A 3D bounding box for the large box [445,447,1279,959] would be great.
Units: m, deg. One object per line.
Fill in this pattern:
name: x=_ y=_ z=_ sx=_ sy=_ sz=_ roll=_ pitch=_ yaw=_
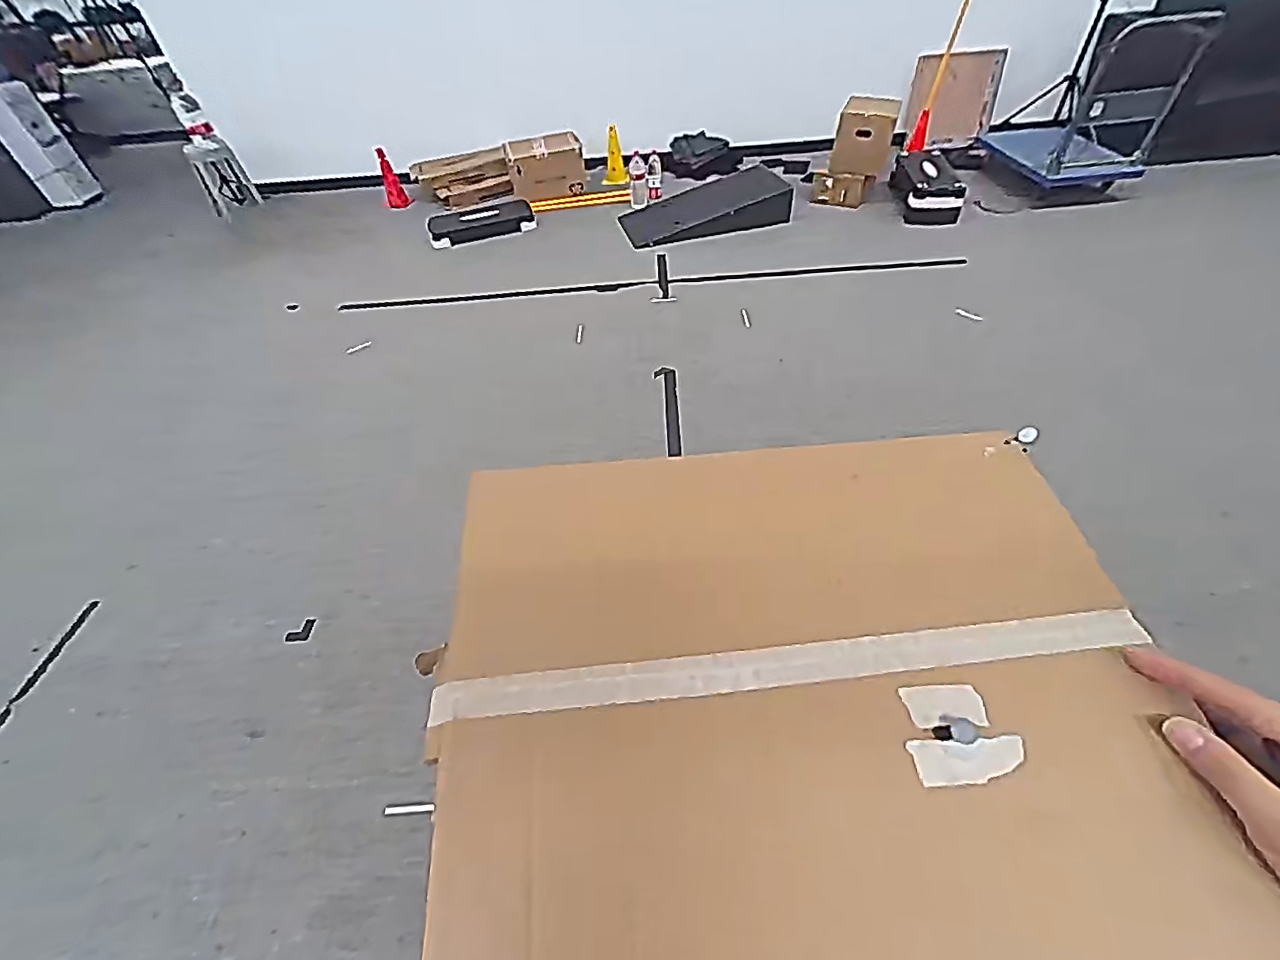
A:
large box: x=0.092 y=0.202 z=0.439 sx=0.408 sy=0.320 sz=0.320 roll=-5 pitch=55 yaw=-4
